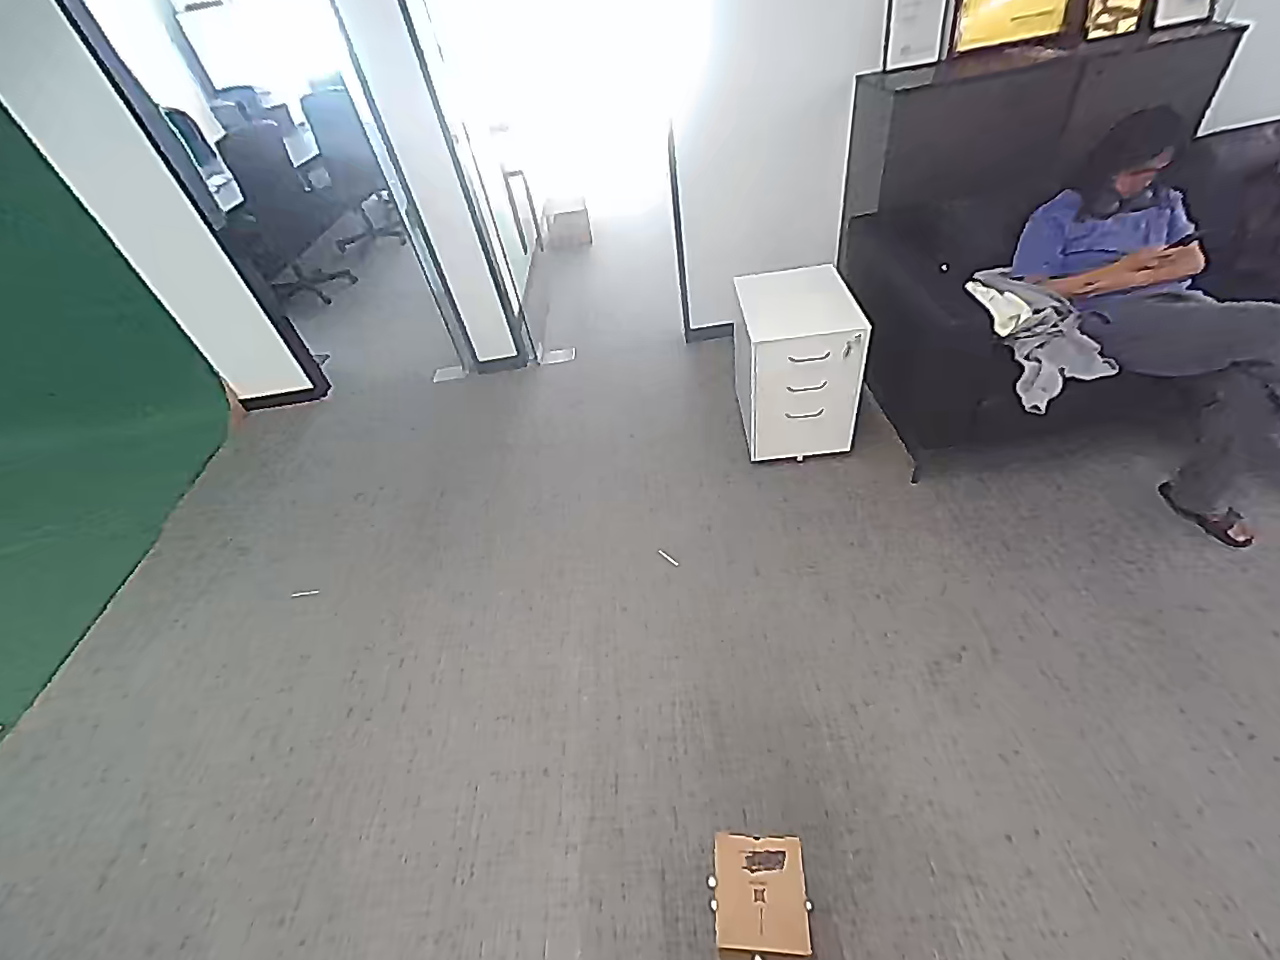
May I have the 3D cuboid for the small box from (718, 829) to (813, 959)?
[{"bbox_3d":[0.235,0.810,1.053,0.168,0.176,0.179,-2,44,9],"label":"small box"}]
